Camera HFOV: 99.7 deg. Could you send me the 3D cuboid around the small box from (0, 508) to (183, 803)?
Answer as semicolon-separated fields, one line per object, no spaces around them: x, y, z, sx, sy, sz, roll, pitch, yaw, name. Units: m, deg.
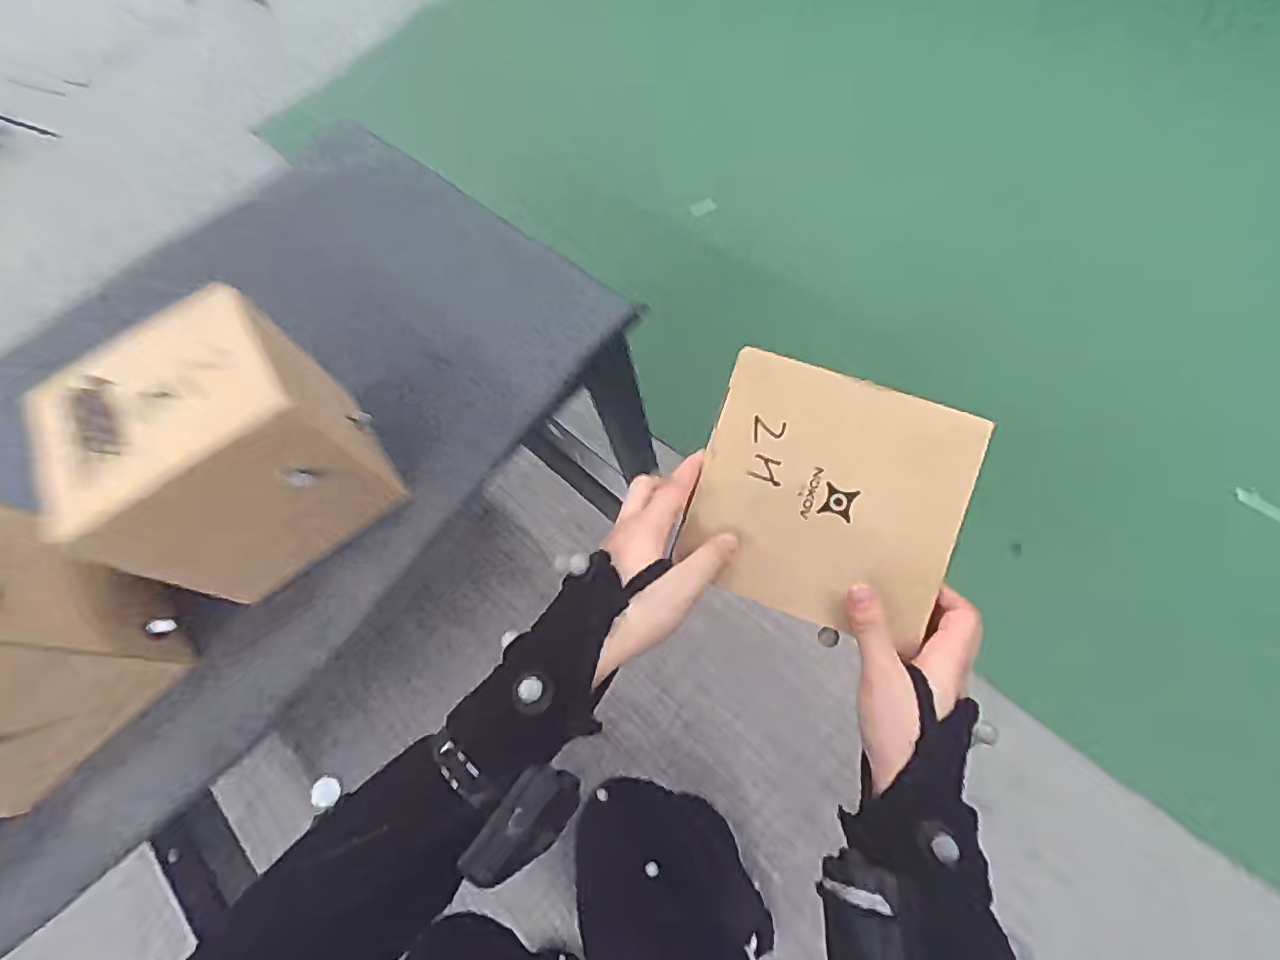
-0.526;0.138;0.439;0.179;0.176;0.168;-44;66;-9;small box
